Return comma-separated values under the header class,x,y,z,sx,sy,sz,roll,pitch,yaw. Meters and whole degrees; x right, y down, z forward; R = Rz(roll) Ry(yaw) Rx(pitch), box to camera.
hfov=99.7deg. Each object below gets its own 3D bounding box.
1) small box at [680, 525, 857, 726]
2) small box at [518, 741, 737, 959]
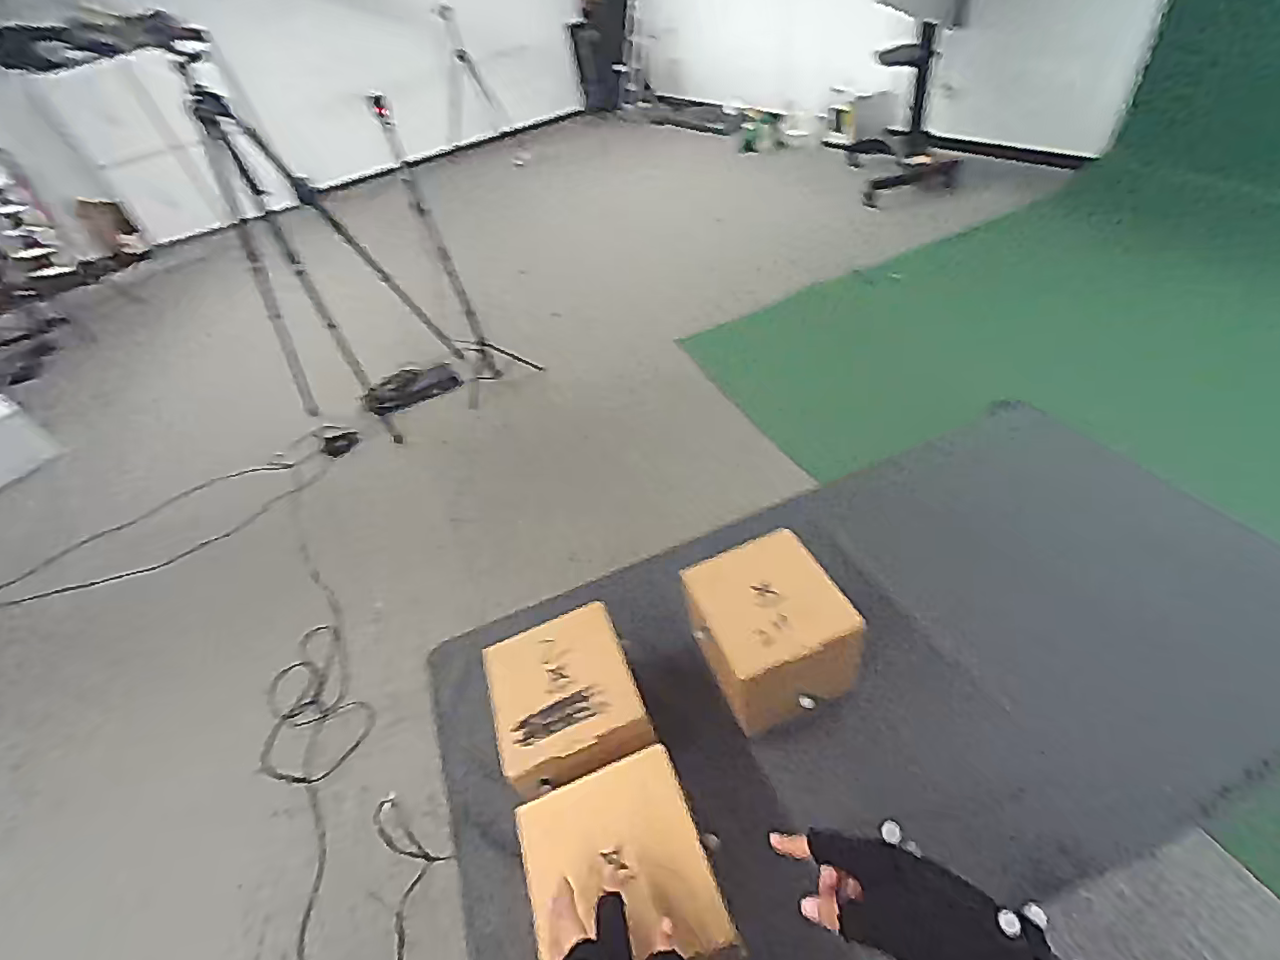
class,x,y,z,sx,sy,sz,roll,pitch,yaw
small box,0.169,0.200,0.746,0.168,0.176,0.179,-22,44,-7
small box,-0.011,0.417,0.566,0.168,0.176,0.179,-22,44,-8
